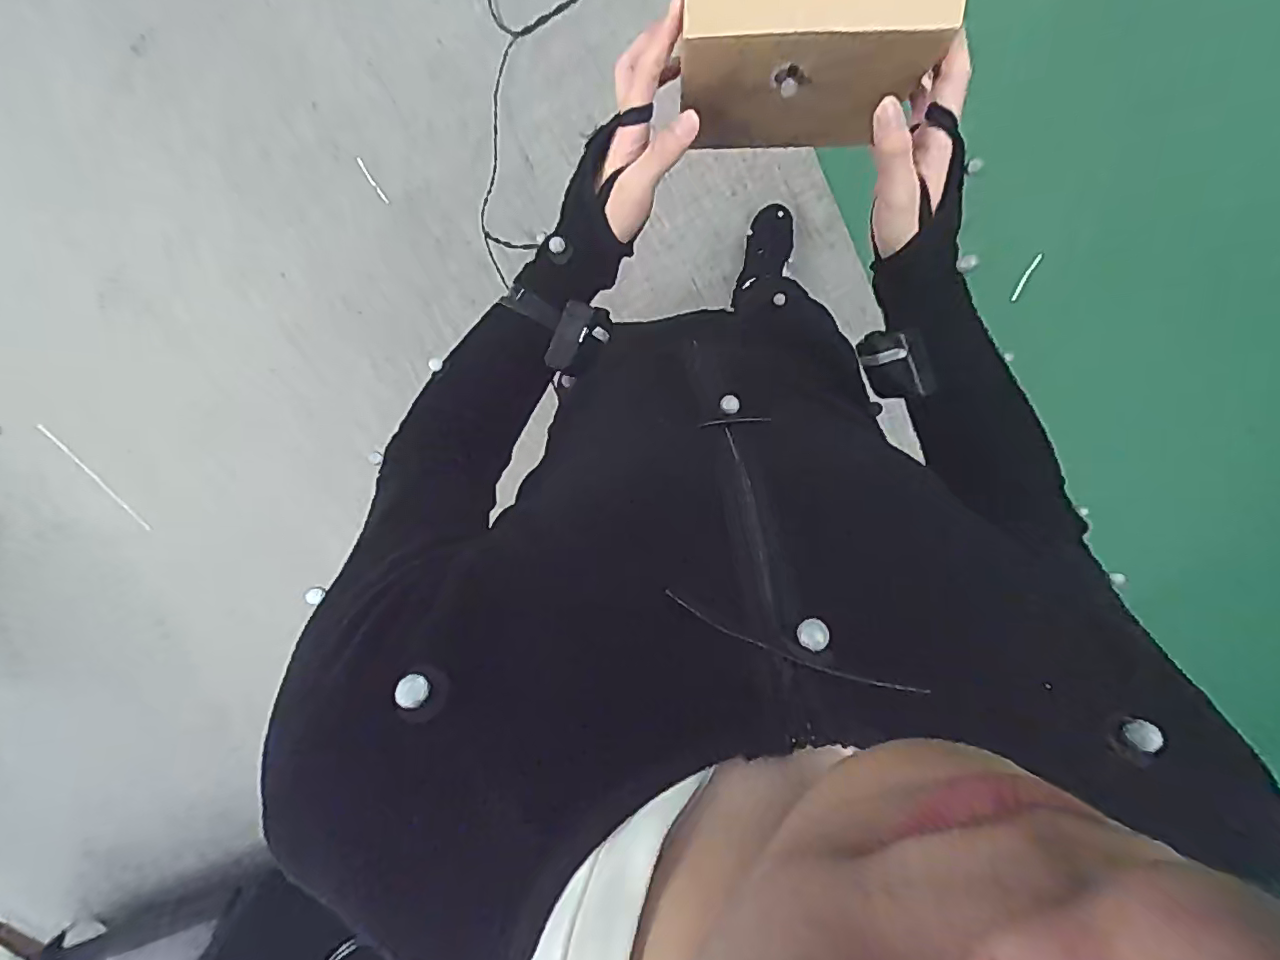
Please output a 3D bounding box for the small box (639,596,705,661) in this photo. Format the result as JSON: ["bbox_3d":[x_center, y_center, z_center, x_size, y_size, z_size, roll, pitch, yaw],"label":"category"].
[{"bbox_3d":[0.107,0.521,1.828,0.179,0.176,0.168,-25,109,17],"label":"small box"}]

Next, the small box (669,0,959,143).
[{"bbox_3d":[0.113,-0.372,0.400,0.179,0.176,0.168,1,100,4],"label":"small box"}]
